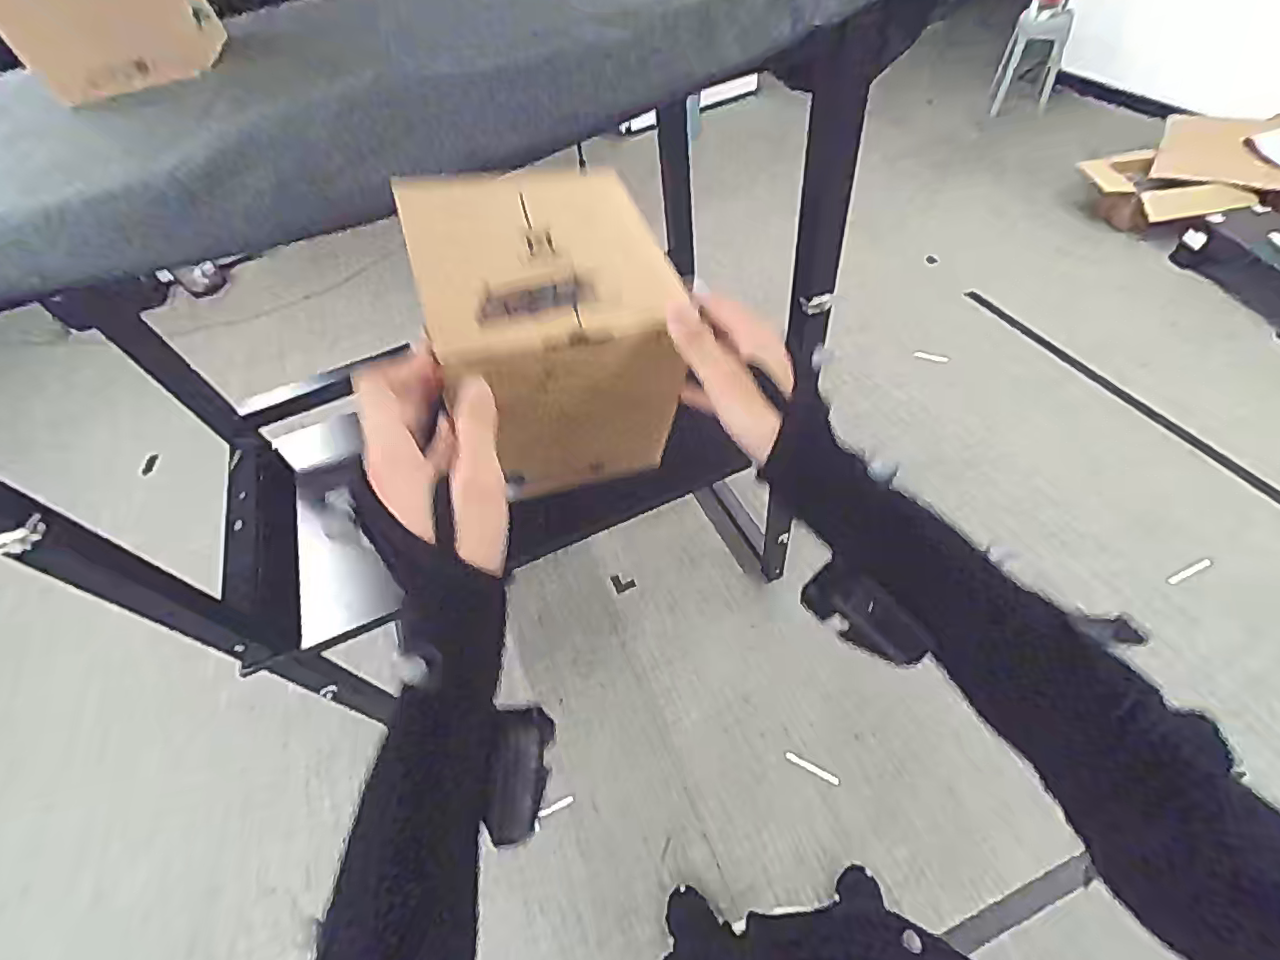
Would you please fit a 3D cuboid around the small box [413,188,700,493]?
[{"bbox_3d":[-0.072,-0.106,0.442,0.168,0.176,0.179,-13,60,-19],"label":"small box"}]

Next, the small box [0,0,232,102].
[{"bbox_3d":[-0.615,-0.566,0.621,0.168,0.176,0.179,-19,53,-6],"label":"small box"}]
